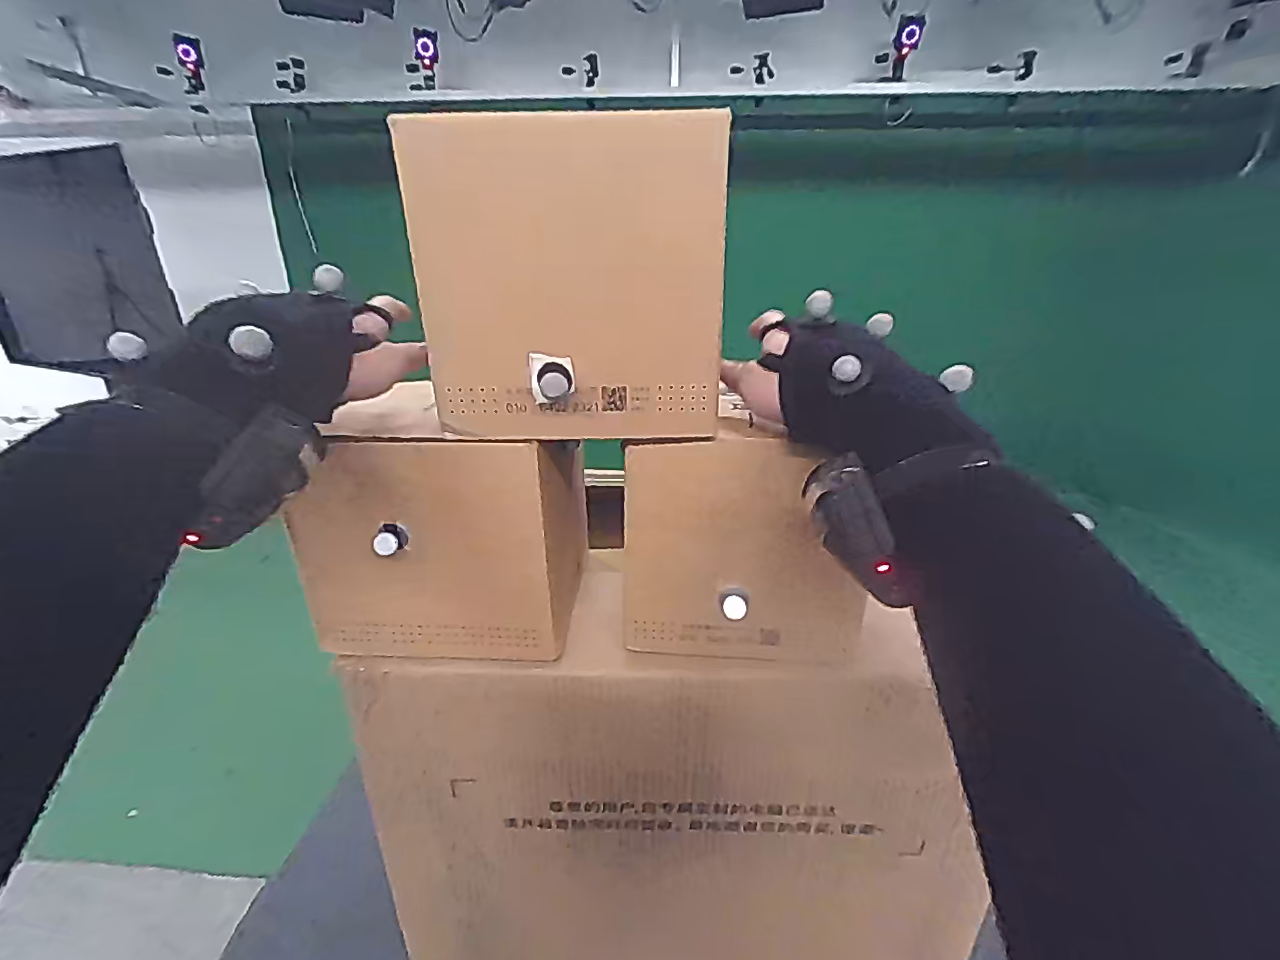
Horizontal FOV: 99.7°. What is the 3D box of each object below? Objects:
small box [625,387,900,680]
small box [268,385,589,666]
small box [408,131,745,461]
[{"bbox_3d":[0.079,0.028,0.432,0.168,0.176,0.179,3,24,4],"label":"small box"},{"bbox_3d":[-0.140,0.027,0.430,0.179,0.176,0.168,2,24,2],"label":"small box"},{"bbox_3d":[-0.032,-0.121,0.365,0.168,0.176,0.179,-1,25,-1],"label":"small box"}]
